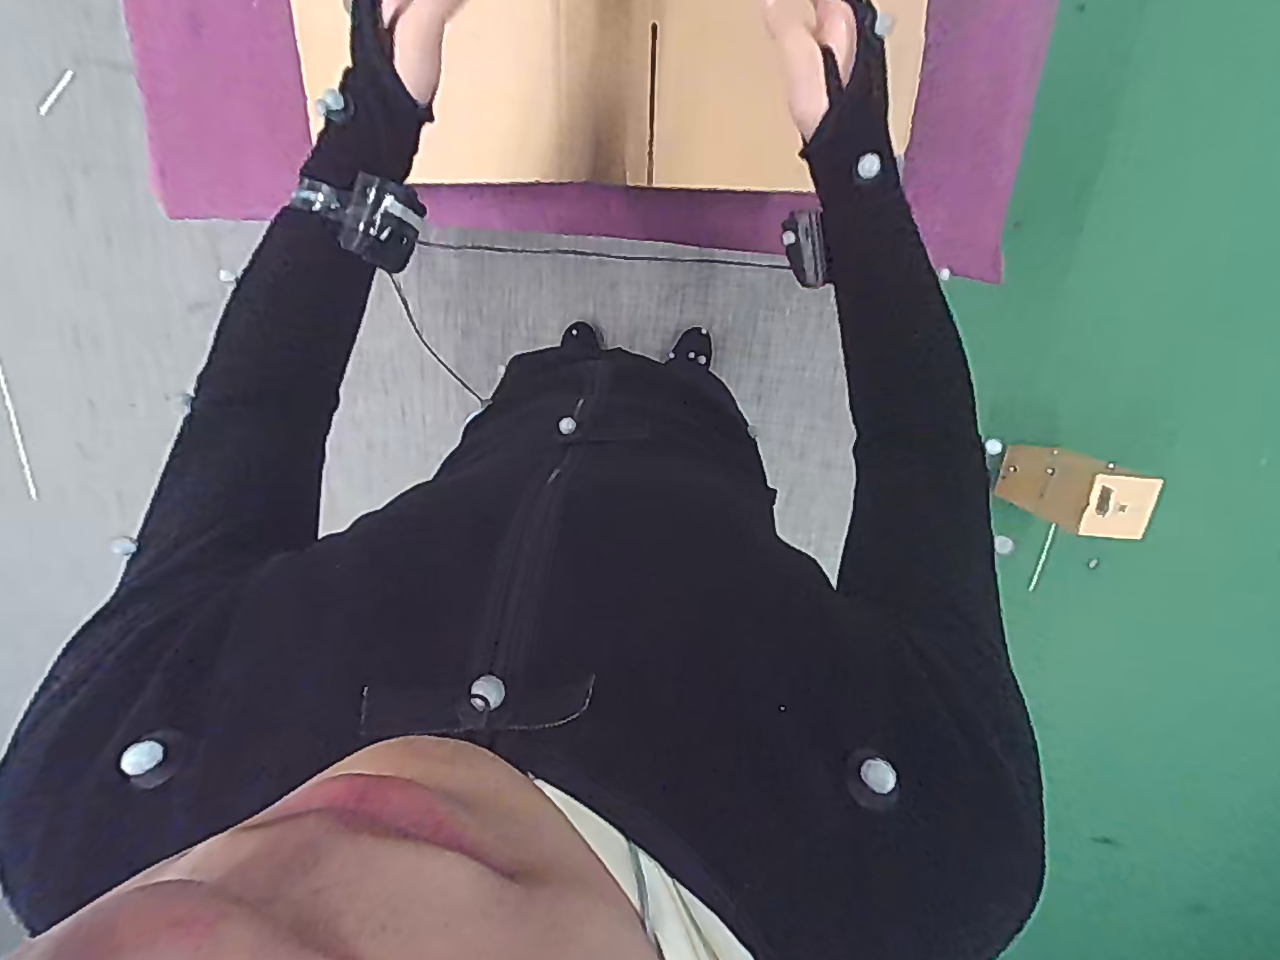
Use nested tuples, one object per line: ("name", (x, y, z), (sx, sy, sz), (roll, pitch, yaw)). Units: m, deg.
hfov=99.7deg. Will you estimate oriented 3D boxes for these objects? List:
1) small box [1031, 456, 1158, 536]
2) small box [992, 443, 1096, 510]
("small box", (1.203, 0.038, 1.448), (0.179, 0.176, 0.168), (4, 107, -4))
("small box", (1.198, -0.009, 1.604), (0.179, 0.176, 0.168), (4, 107, -2))
